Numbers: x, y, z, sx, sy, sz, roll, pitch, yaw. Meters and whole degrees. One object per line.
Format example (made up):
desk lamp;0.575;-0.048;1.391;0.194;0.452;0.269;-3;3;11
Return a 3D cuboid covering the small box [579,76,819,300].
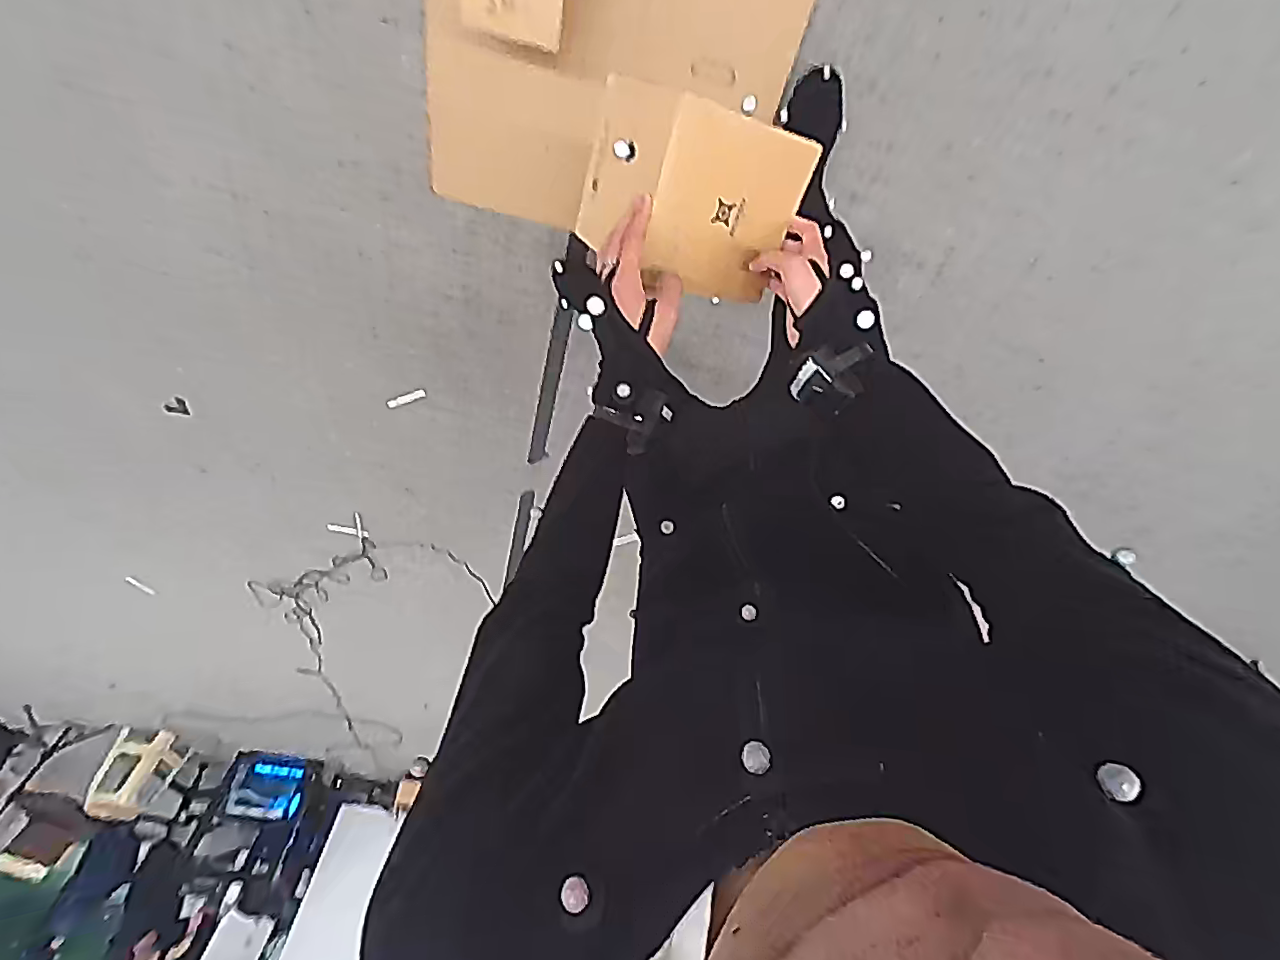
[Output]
small box;0.051;-0.319;0.596;0.179;0.176;0.168;-2;128;-31

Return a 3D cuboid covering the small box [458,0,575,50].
small box;-0.196;-0.855;0.900;0.168;0.176;0.179;12;133;-6
